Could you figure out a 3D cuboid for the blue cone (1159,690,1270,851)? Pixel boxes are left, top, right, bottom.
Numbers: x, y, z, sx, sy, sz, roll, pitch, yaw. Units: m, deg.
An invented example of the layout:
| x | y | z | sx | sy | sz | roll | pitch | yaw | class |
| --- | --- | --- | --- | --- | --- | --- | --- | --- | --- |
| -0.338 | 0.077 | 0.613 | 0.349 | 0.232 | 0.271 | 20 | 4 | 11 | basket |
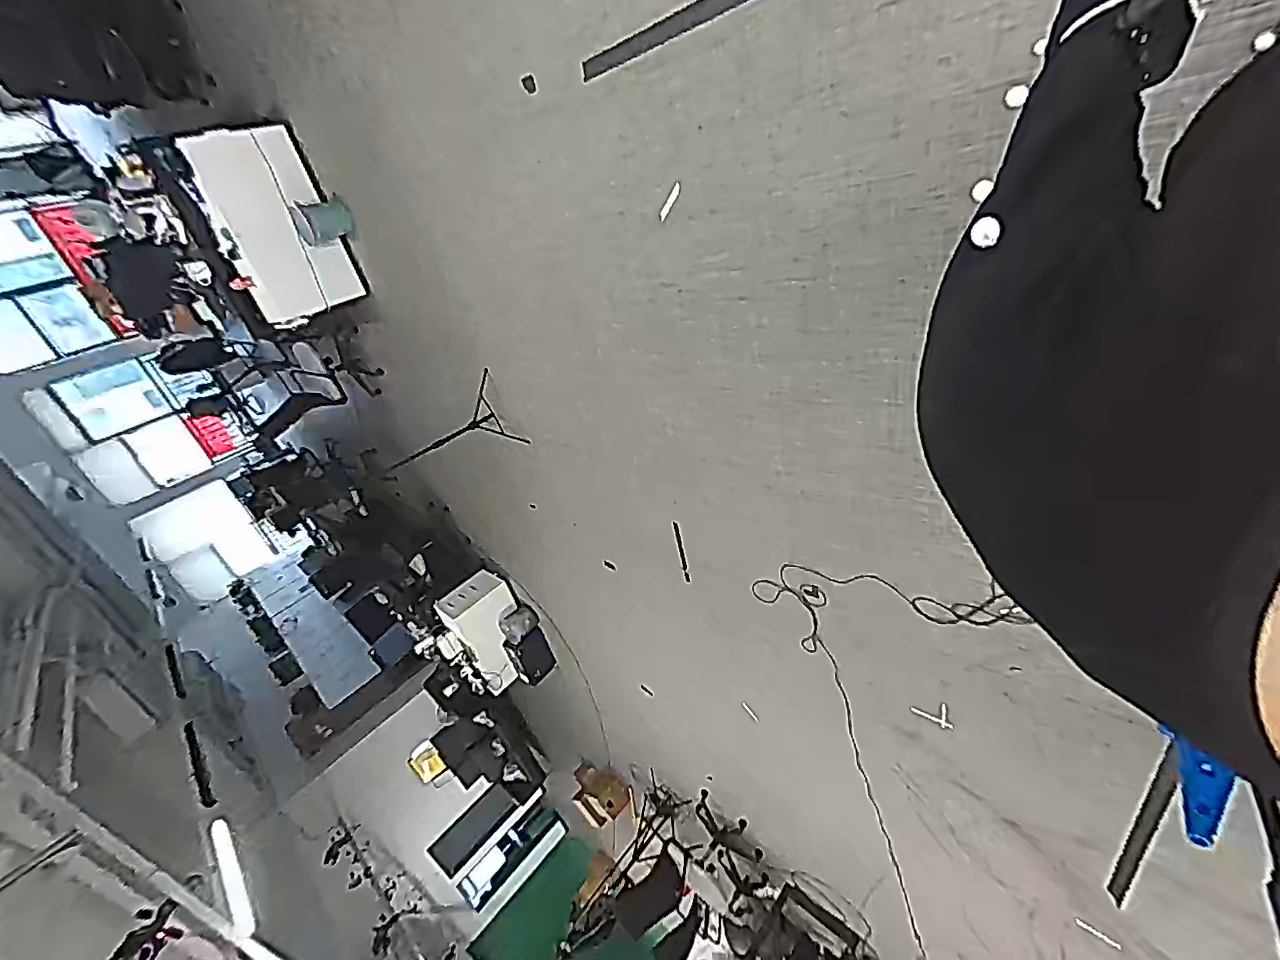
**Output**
| x | y | z | sx | sy | sz | roll | pitch | yaw | class |
| --- | --- | --- | --- | --- | --- | --- | --- | --- | --- |
| 1.401 | 0.727 | 1.333 | 0.192 | 0.380 | 0.193 | 11 | 129 | 44 | blue cone |
